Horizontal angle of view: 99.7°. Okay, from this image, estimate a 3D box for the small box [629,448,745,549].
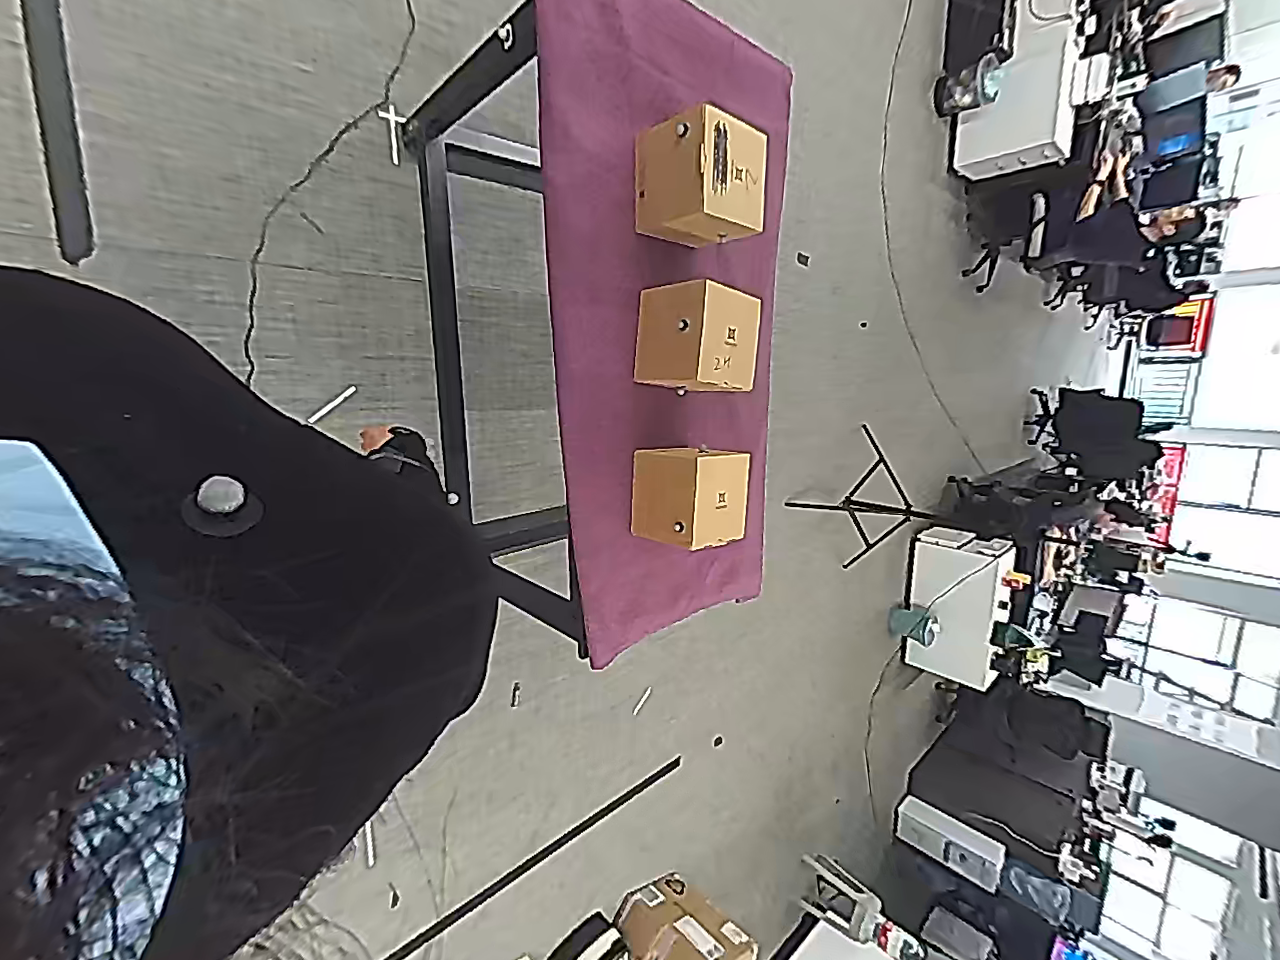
[{"bbox_3d":[0.093,0.027,1.089,0.168,0.176,0.179,-6,102,-45],"label":"small box"}]

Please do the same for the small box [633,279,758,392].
[{"bbox_3d":[0.103,-0.268,1.043,0.168,0.176,0.179,0,98,-43],"label":"small box"}]
